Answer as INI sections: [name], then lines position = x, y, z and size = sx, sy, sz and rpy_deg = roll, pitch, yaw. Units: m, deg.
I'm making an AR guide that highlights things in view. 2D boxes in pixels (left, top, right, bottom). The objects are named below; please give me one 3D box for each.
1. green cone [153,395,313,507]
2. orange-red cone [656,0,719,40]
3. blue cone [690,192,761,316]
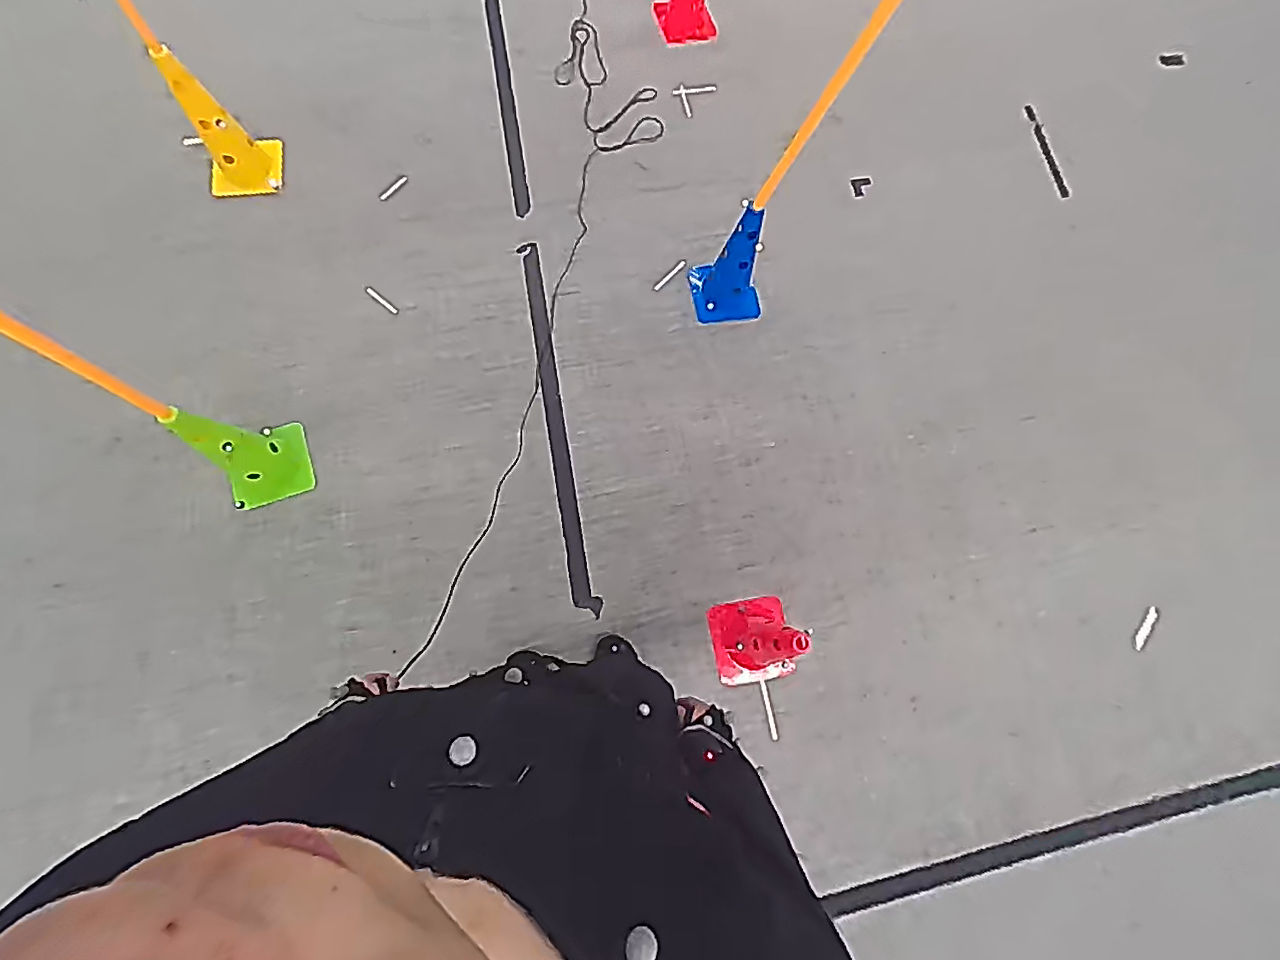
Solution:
[green cone]
position = -0.960, -0.097, 1.252
size = 0.200, 0.368, 0.202
rpy_deg = -20, 75, -9
[orange-red cone]
position = 0.180, -1.706, 1.776
size = 0.199, 0.360, 0.198
rpy_deg = -15, 76, -7
[blue cone]
position = 0.270, -0.633, 1.502
size = 0.193, 0.380, 0.192
rpy_deg = -7, 75, -6
